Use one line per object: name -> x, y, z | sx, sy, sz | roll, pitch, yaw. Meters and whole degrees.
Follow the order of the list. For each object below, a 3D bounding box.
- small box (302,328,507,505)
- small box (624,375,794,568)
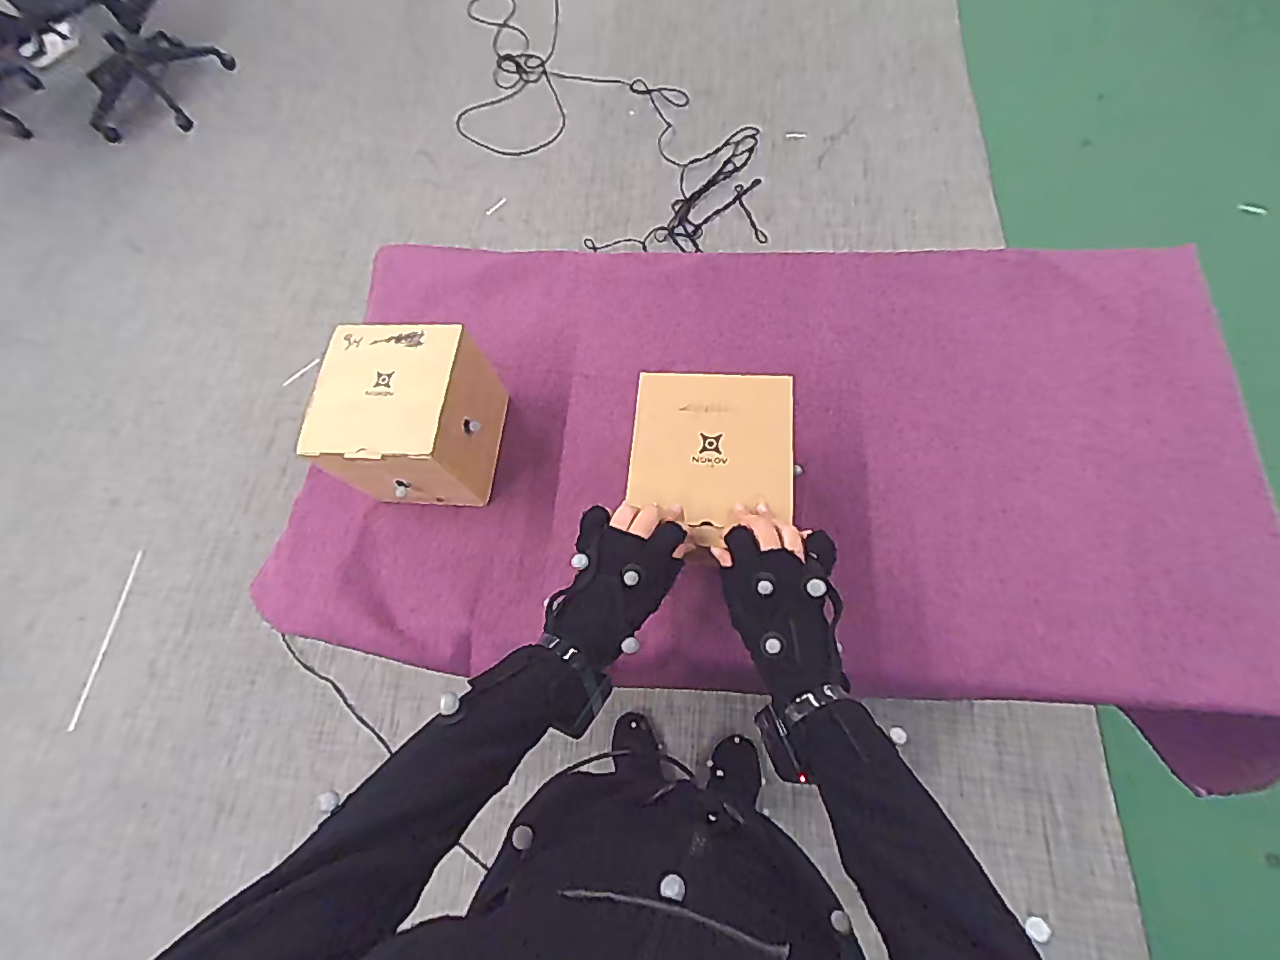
small box -> -0.285, -0.074, 0.699 | 0.168, 0.176, 0.179 | 2, 69, 7
small box -> 0.083, -0.002, 0.627 | 0.168, 0.176, 0.179 | 3, 68, 8
